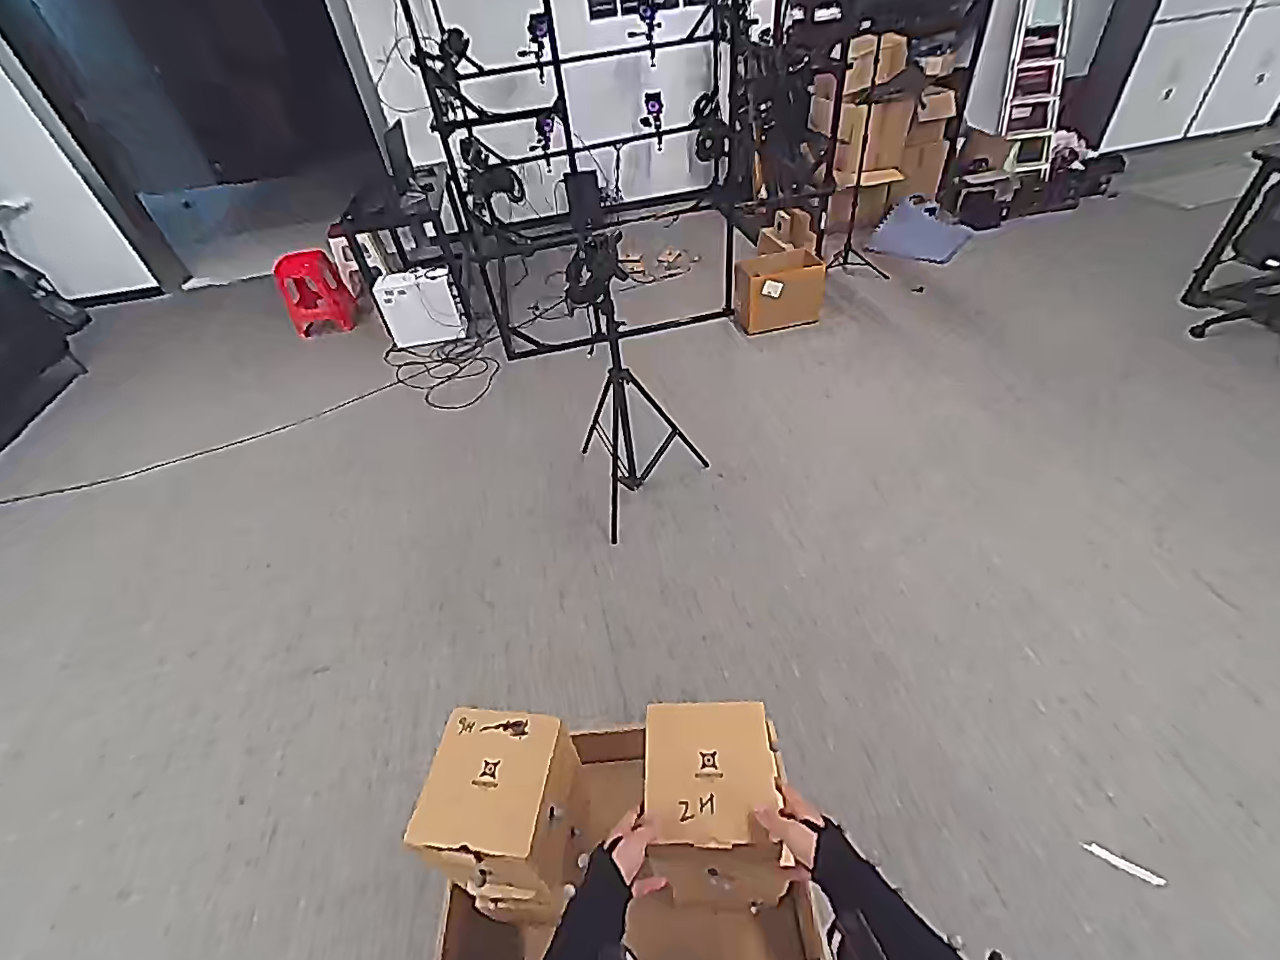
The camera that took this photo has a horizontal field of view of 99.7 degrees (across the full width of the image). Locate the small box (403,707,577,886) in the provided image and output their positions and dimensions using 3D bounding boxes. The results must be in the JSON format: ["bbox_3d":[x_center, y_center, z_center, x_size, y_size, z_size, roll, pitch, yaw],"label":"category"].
[{"bbox_3d":[-0.195,0.451,0.770,0.168,0.176,0.179,1,43,10],"label":"small box"}]

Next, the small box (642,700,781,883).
[{"bbox_3d":[0.095,0.430,0.751,0.168,0.176,0.179,-4,41,6],"label":"small box"}]

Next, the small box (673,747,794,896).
[{"bbox_3d":[0.135,0.546,0.865,0.179,0.176,0.168,-6,41,4],"label":"small box"}]

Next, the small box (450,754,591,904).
[{"bbox_3d":[-0.181,0.569,0.885,0.168,0.176,0.179,-1,42,7],"label":"small box"}]
